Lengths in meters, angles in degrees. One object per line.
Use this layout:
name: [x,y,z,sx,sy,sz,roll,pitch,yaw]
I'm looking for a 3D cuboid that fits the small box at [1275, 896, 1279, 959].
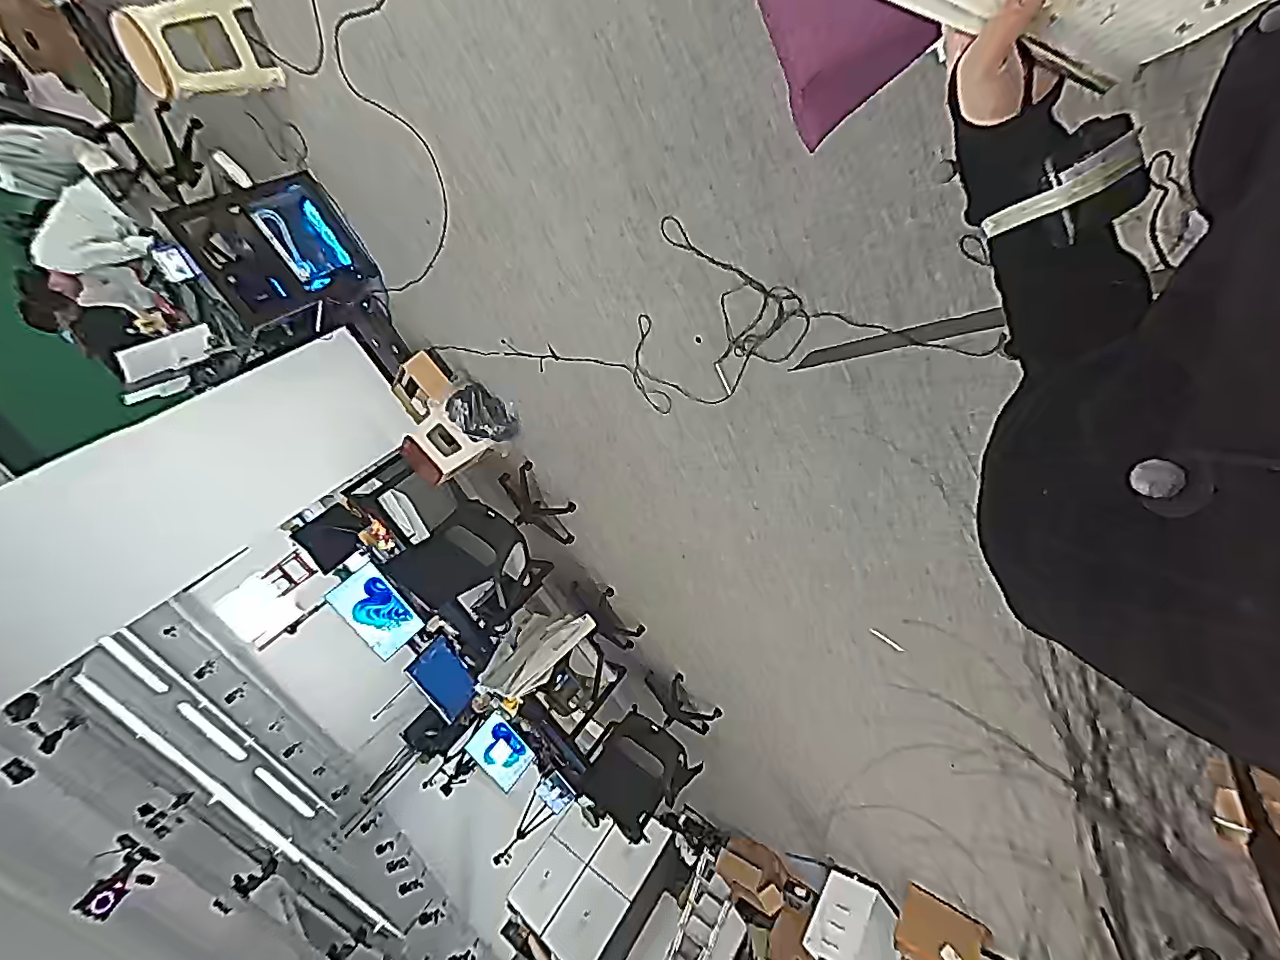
small box: [1.516,1.041,1.170,0.179,0.176,0.168,0,128,46]
